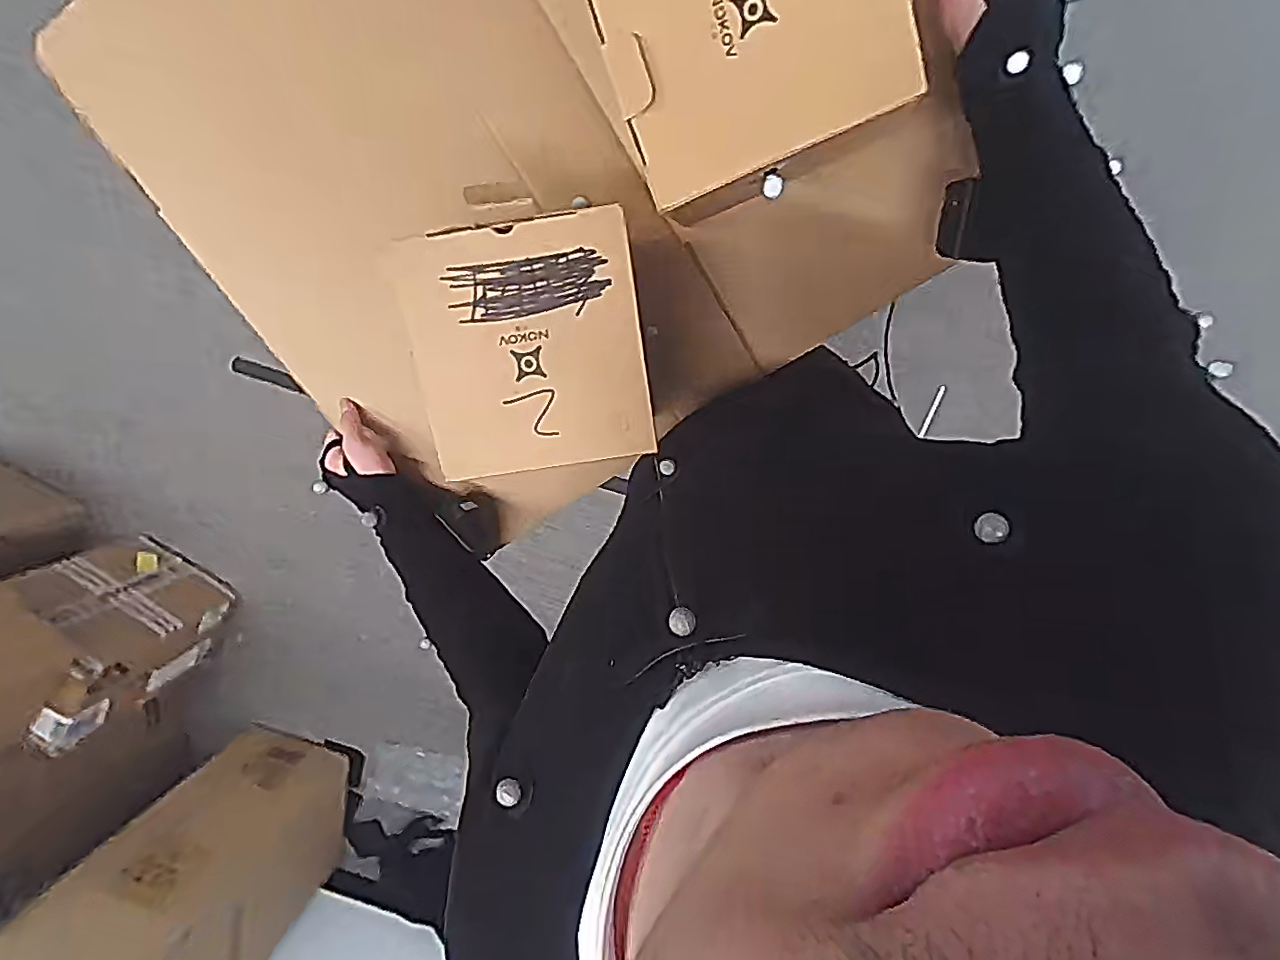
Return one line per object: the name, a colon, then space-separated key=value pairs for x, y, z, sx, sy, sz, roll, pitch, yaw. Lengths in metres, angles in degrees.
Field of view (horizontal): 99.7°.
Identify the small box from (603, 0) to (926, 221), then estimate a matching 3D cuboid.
small box: x=0.088 y=-0.315 z=0.411 sx=0.179 sy=0.176 sz=0.168 roll=-15 pitch=108 yaw=18
